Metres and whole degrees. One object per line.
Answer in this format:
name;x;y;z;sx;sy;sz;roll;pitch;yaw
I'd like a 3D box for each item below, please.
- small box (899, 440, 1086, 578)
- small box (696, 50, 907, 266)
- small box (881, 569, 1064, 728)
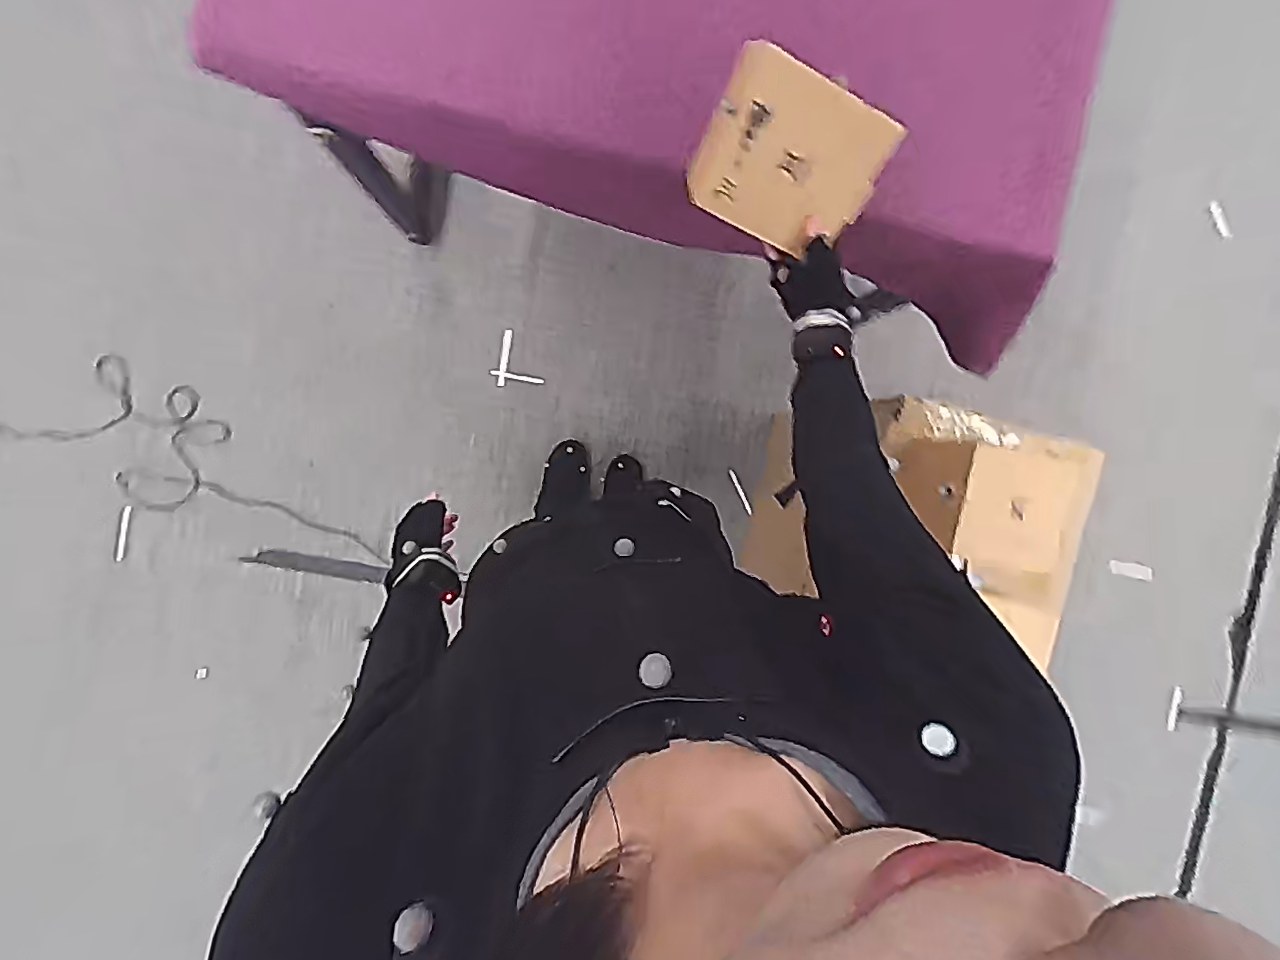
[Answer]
small box;0.541;0.037;0.855;0.168;0.176;0.179;12;94;-4
small box;0.184;-0.404;0.674;0.179;0.176;0.168;21;127;-14
small box;0.515;0.259;0.866;0.168;0.176;0.179;15;90;-5
